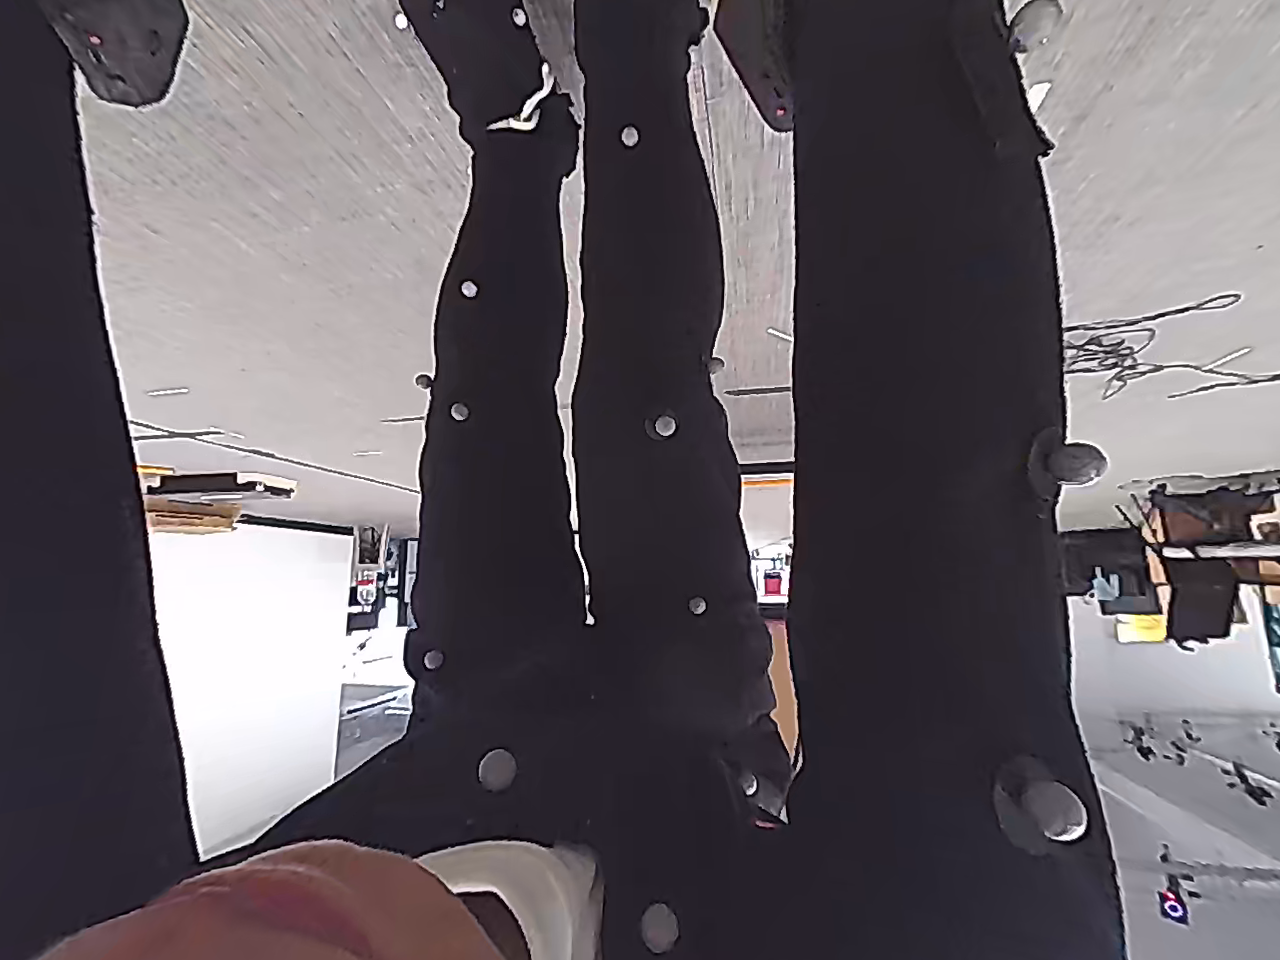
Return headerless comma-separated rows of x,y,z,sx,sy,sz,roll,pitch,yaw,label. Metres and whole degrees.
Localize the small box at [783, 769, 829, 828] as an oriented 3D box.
0.690,1.320,2.259,0.168,0.176,0.179,-3,169,13,small box
